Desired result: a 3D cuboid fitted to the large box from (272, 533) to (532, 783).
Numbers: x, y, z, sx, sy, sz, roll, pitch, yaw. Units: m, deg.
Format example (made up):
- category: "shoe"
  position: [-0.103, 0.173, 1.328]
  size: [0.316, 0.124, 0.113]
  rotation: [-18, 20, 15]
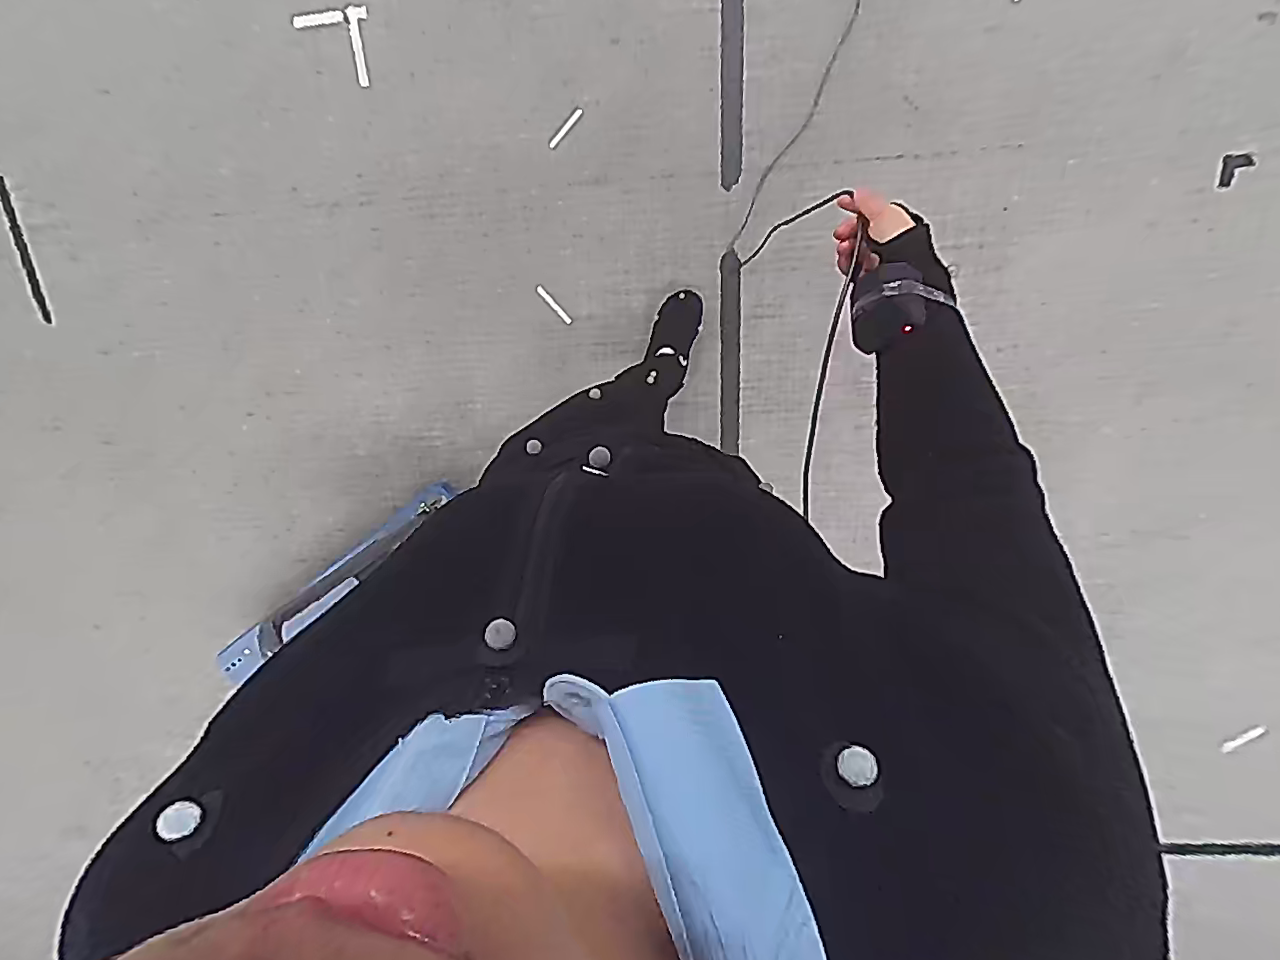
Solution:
- category: "large box"
  position: [-0.530, 0.404, 1.286]
  size: [0.320, 0.320, 0.408]
  rotation: [-36, 99, 11]
